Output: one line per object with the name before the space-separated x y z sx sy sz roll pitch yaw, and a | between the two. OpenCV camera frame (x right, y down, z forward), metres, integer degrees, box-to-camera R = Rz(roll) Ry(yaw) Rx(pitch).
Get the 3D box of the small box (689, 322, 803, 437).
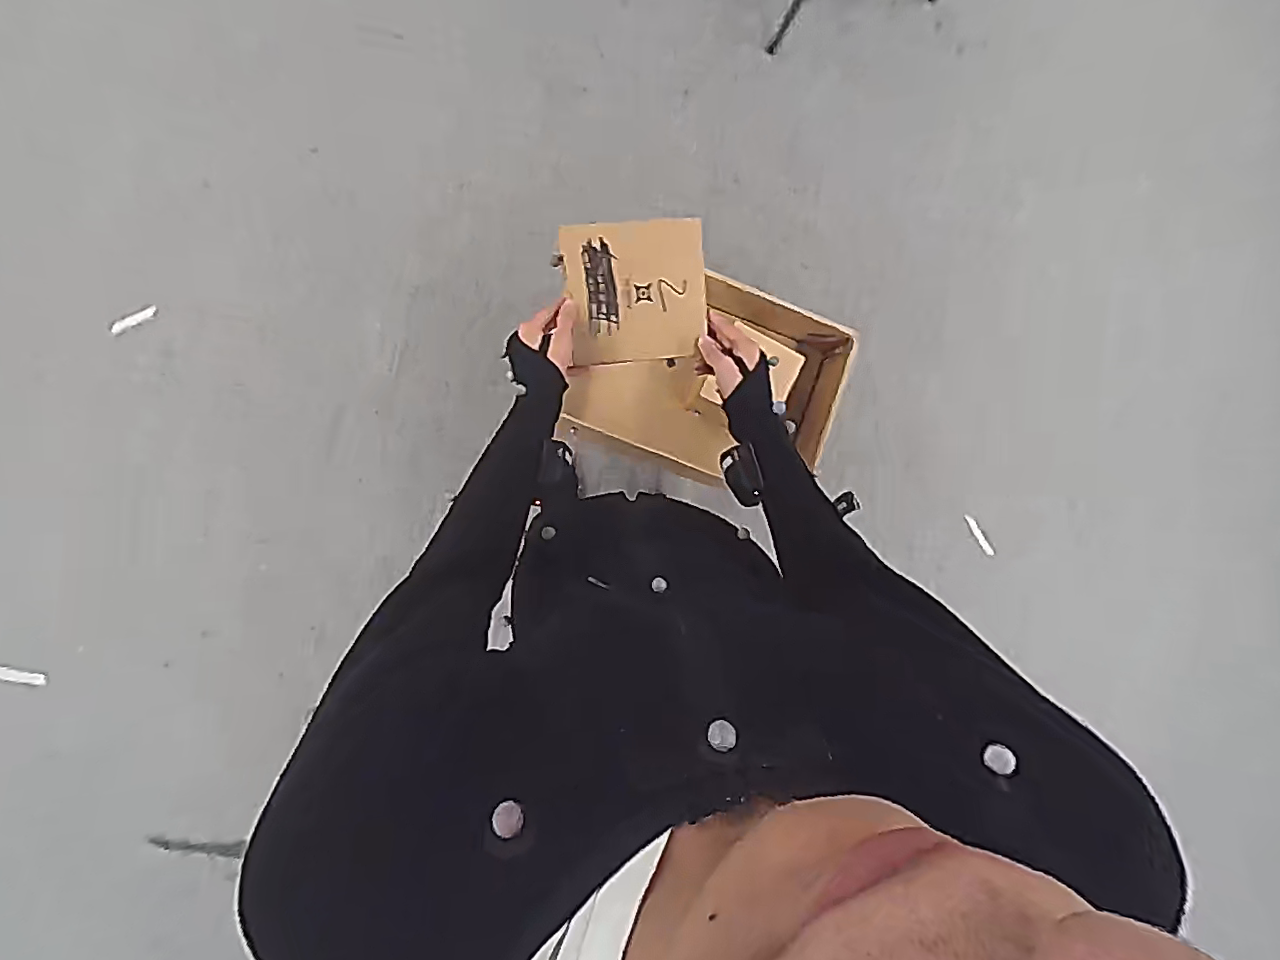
small box | 0.219 -0.206 1.174 0.168 0.176 0.179 27 86 -5
